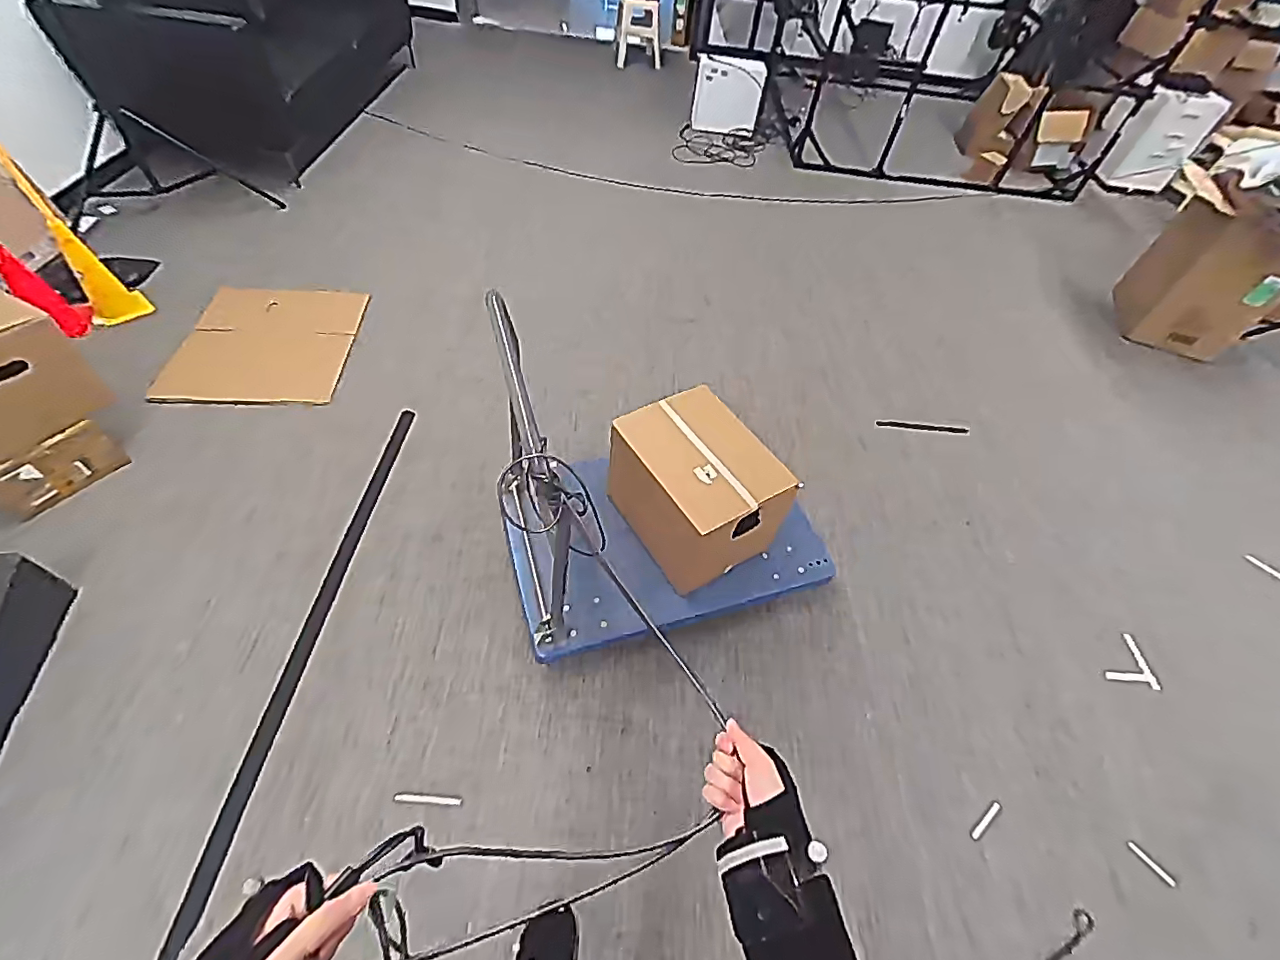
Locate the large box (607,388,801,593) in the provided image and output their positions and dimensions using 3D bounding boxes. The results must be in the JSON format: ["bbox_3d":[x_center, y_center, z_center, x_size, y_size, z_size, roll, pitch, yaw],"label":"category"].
[{"bbox_3d":[0.146,0.024,1.472,0.320,0.320,0.408,-24,60,-23],"label":"large box"}]
